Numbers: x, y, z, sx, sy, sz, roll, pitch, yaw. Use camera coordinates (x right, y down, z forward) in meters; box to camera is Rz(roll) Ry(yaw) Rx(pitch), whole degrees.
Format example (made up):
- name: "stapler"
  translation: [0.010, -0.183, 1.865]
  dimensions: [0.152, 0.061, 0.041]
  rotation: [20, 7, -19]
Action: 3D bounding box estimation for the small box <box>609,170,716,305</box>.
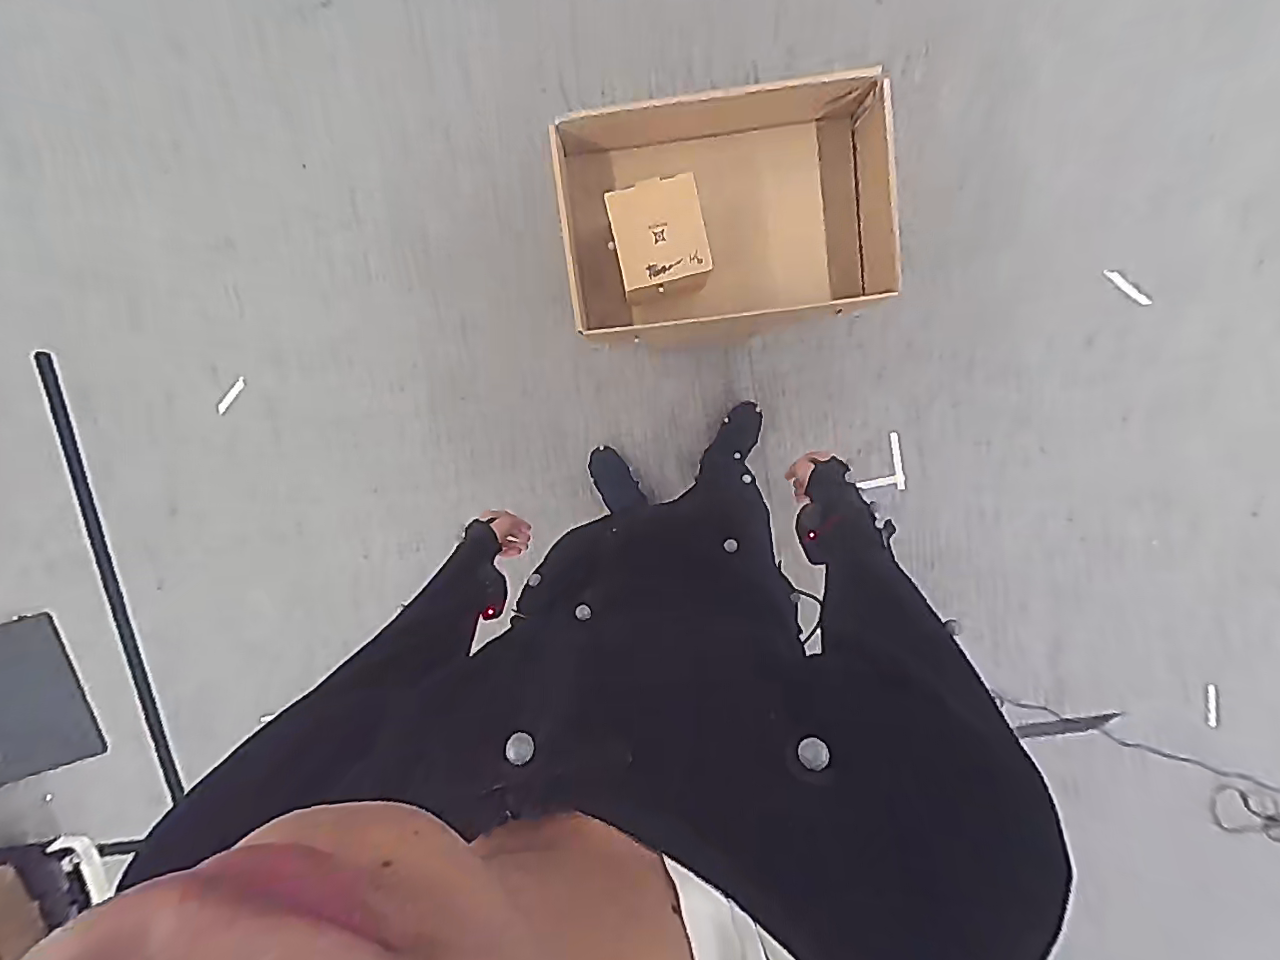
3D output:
- name: "small box"
  translation: [0.040, -0.459, 1.050]
  dimensions: [0.168, 0.176, 0.179]
  rotation: [-13, 97, 3]
